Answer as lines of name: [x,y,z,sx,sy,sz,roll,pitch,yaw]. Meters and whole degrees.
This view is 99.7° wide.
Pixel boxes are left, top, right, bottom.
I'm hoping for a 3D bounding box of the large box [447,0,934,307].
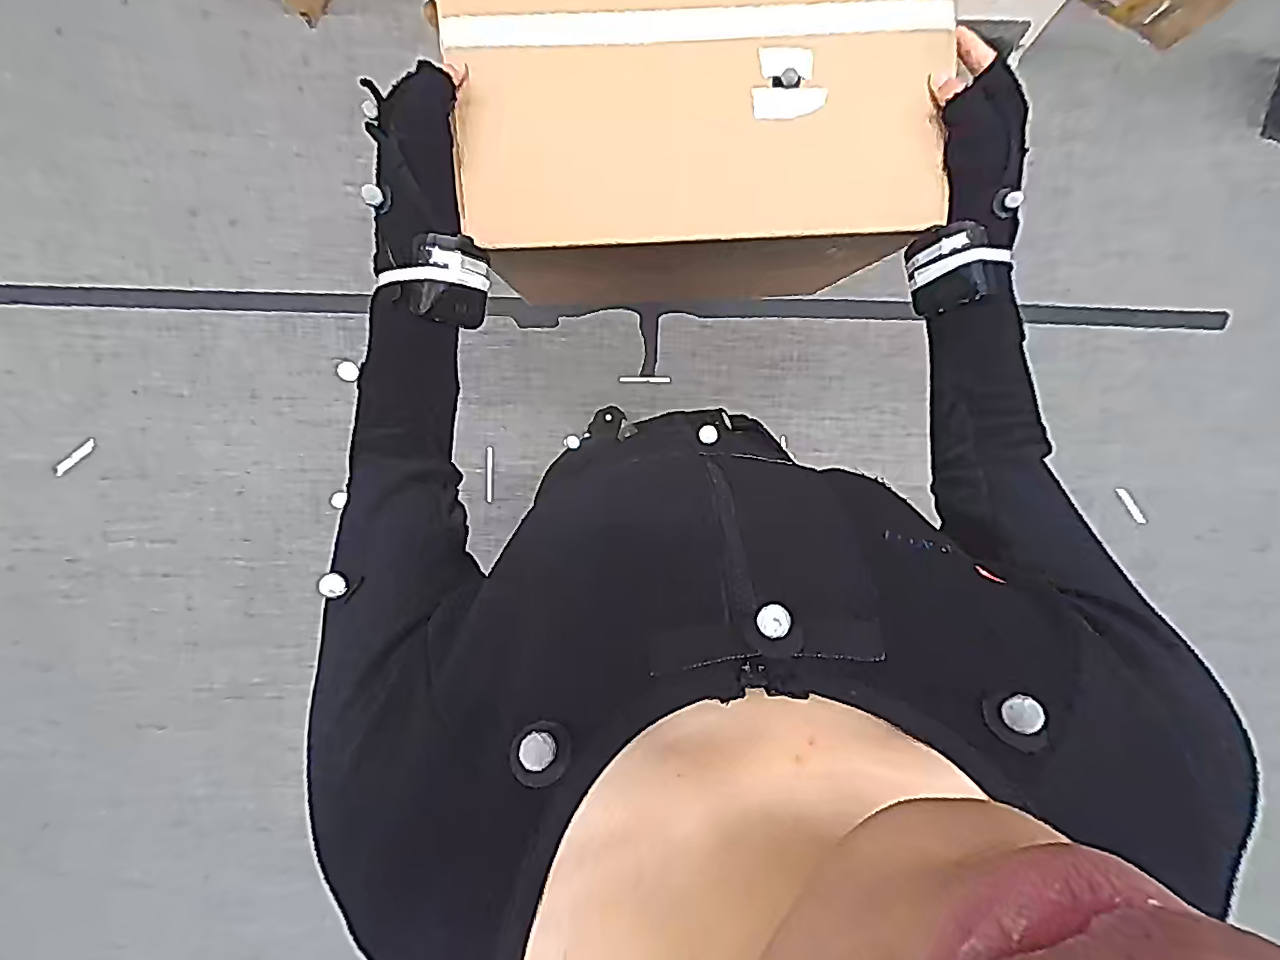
large box: [0.037,-0.382,0.591,0.408,0.320,0.320,-4,100,-2]
